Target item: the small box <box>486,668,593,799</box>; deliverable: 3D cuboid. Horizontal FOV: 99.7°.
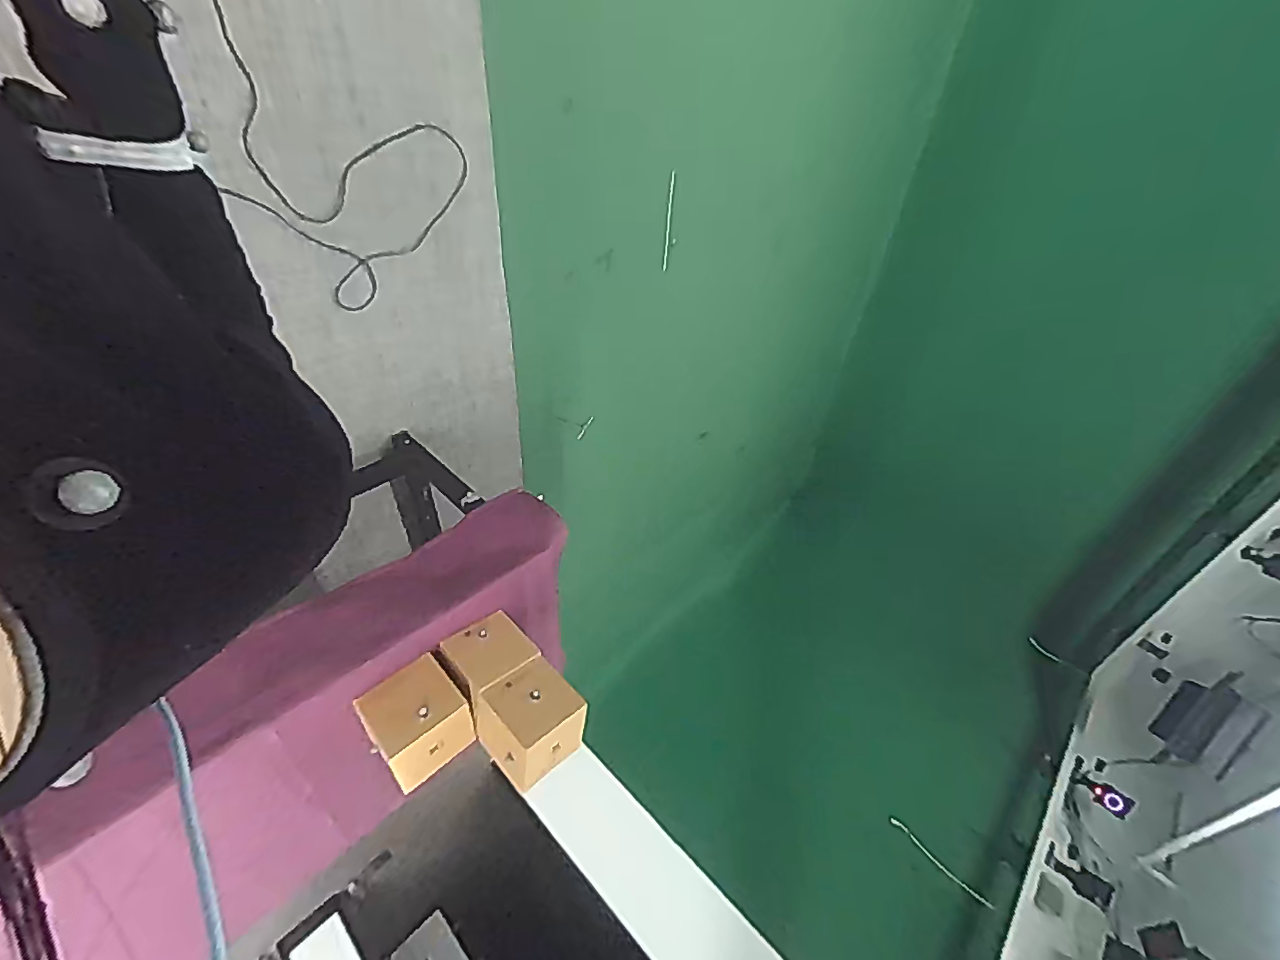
[{"bbox_3d":[-0.228,0.548,1.201,0.168,0.176,0.179,-24,136,-43],"label":"small box"}]
